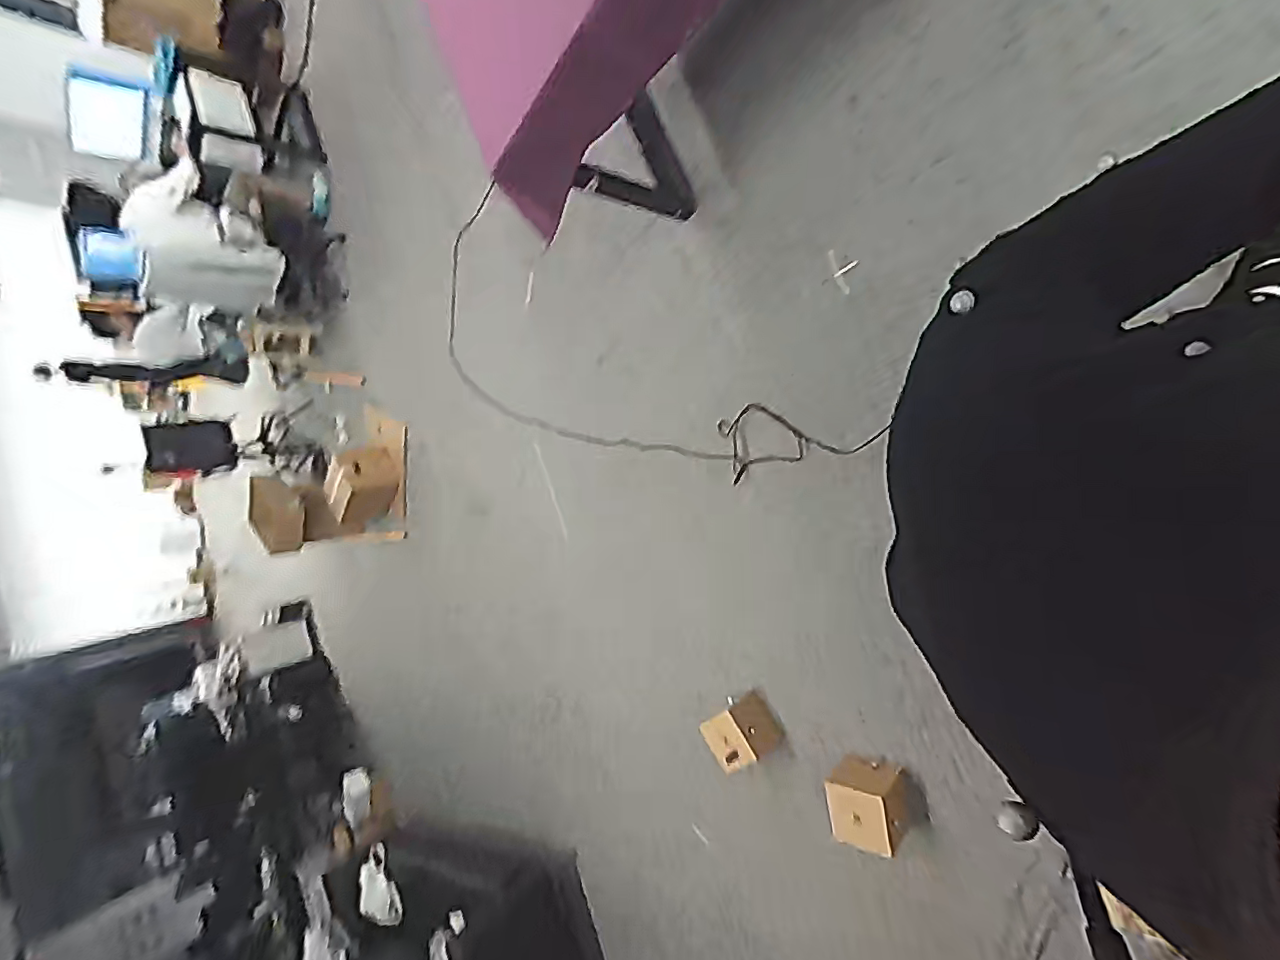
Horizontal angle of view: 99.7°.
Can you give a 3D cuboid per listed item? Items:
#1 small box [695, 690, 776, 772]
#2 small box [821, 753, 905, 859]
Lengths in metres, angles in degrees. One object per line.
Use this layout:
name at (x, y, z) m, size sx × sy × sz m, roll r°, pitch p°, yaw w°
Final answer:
small box at (0.330, 0.853, 1.844) m, size 0.168 × 0.176 × 0.179 m, roll -48°, pitch 65°, yaw 37°
small box at (0.648, 0.932, 1.562) m, size 0.168 × 0.176 × 0.179 m, roll -7°, pitch 93°, yaw 43°
